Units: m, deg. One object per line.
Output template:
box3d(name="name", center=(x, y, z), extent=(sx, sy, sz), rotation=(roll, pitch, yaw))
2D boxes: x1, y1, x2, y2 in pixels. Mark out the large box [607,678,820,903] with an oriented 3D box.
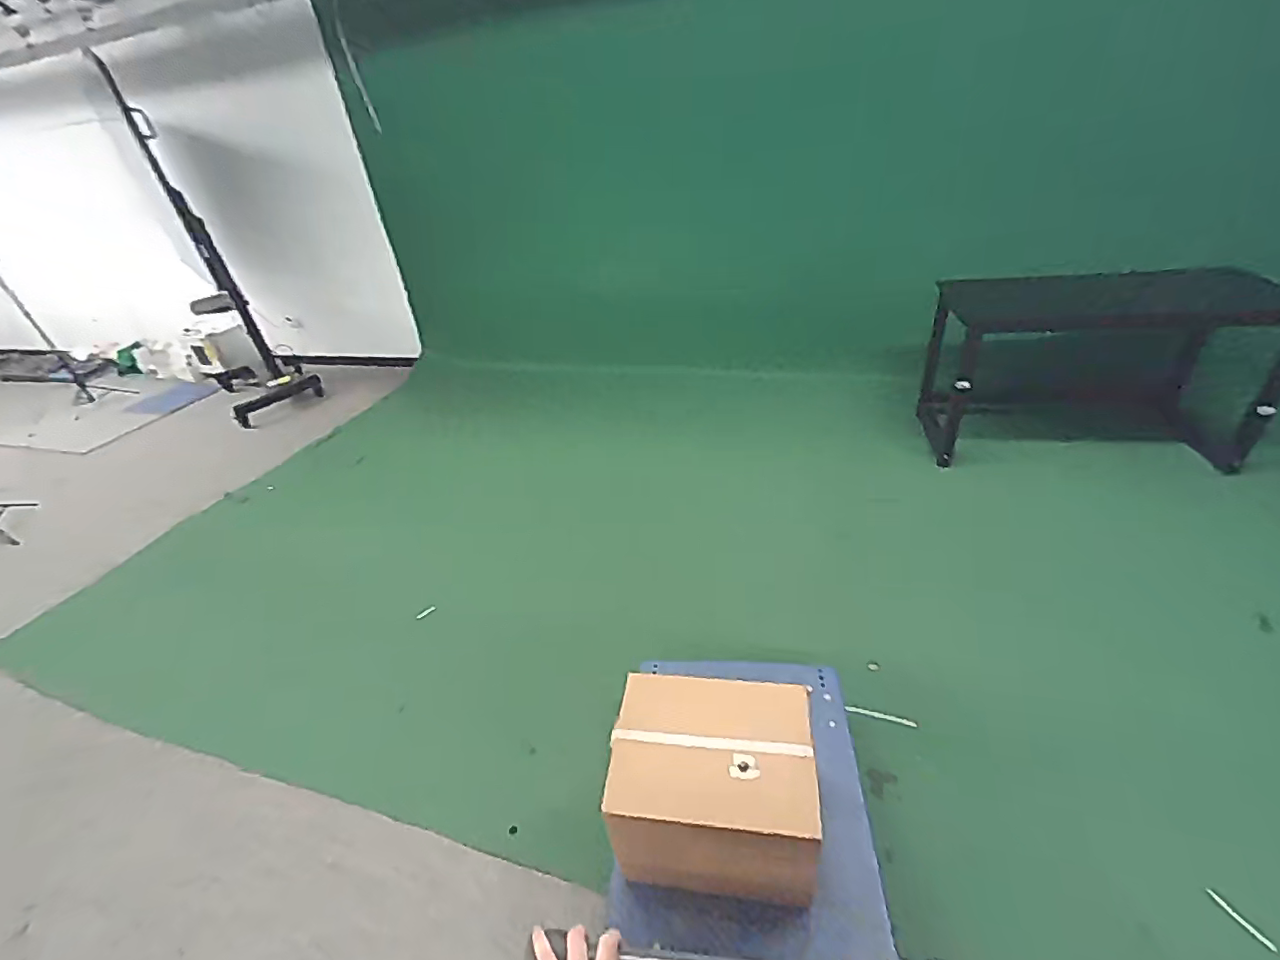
box3d(name="large box", center=(0.164, 0.677, 1.204), extent=(0.408, 0.320, 0.320), rotation=(1, 34, 11))
